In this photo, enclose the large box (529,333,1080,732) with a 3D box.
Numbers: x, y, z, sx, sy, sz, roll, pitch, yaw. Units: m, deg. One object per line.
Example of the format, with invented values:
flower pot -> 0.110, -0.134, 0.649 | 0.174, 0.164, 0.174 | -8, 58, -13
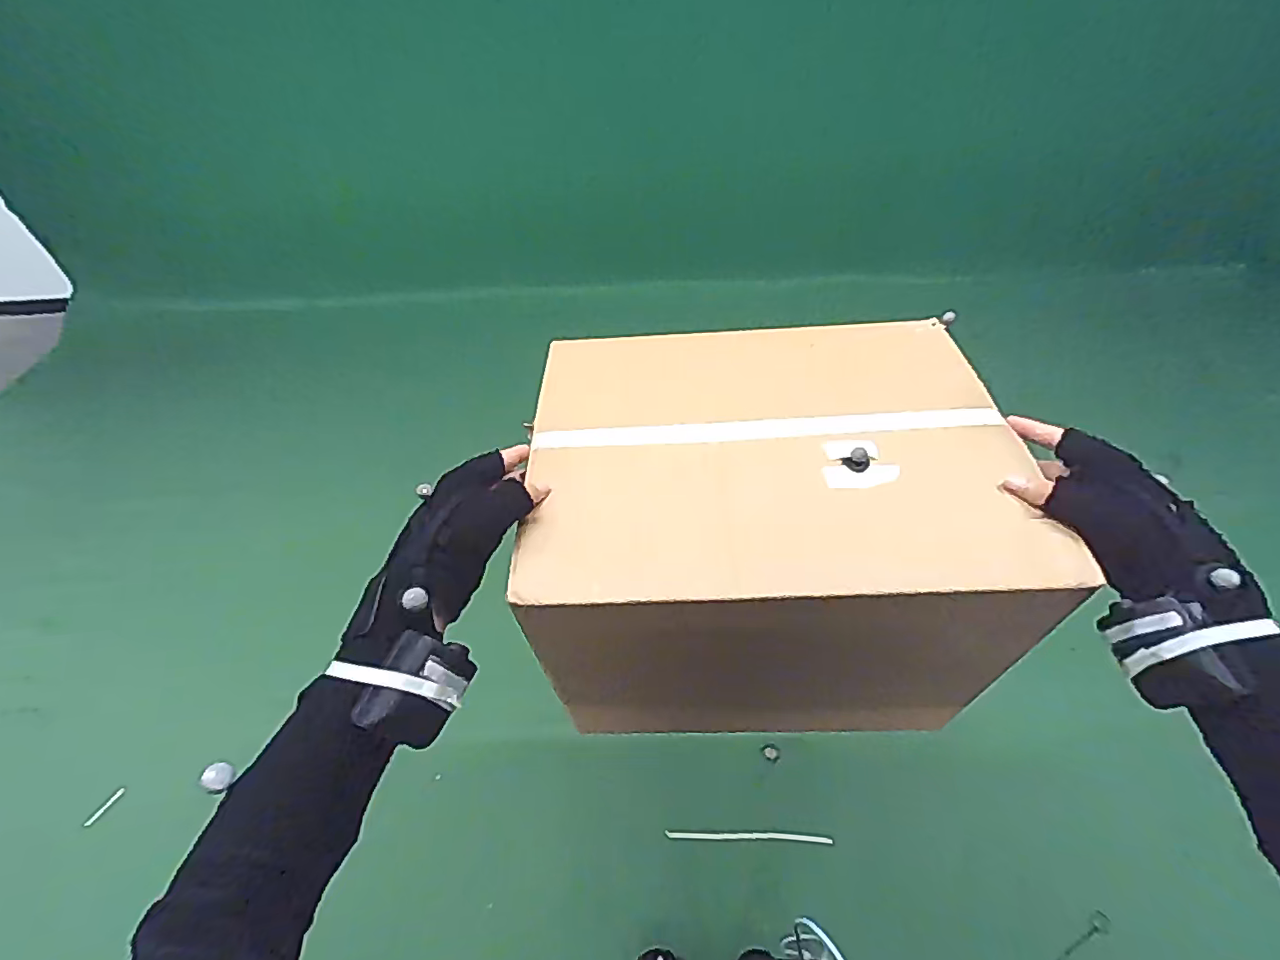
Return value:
large box -> 0.119, 0.064, 0.594 | 0.408, 0.320, 0.320 | -2, 49, 2
